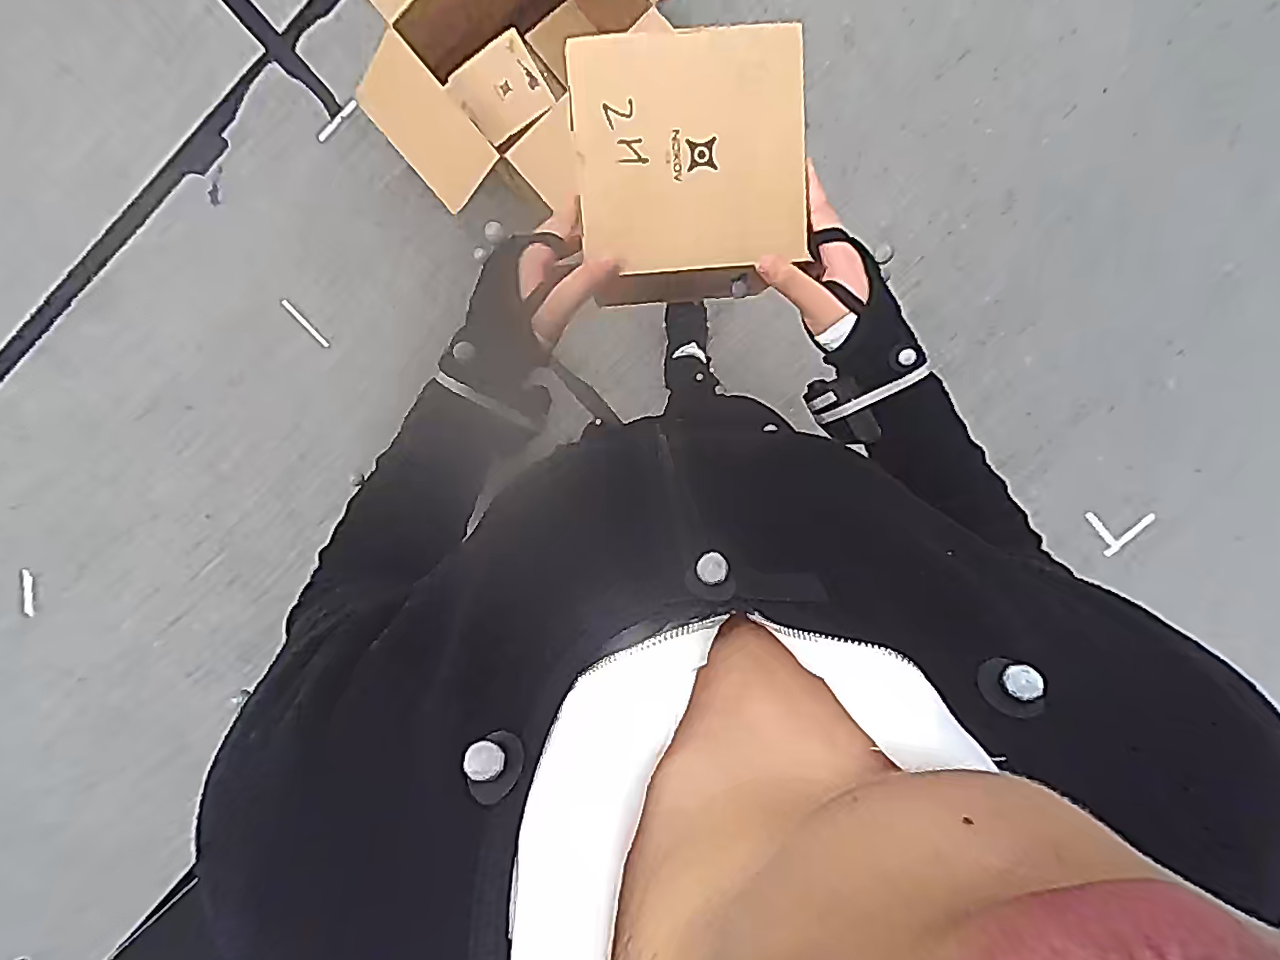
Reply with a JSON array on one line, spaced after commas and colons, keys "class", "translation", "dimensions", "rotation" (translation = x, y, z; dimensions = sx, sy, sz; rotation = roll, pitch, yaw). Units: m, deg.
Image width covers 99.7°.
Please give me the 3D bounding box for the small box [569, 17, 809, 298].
[{"class": "small box", "translation": [0.037, -0.264, 0.483], "dimensions": [0.179, 0.176, 0.168], "rotation": [-5, 100, 0]}]
